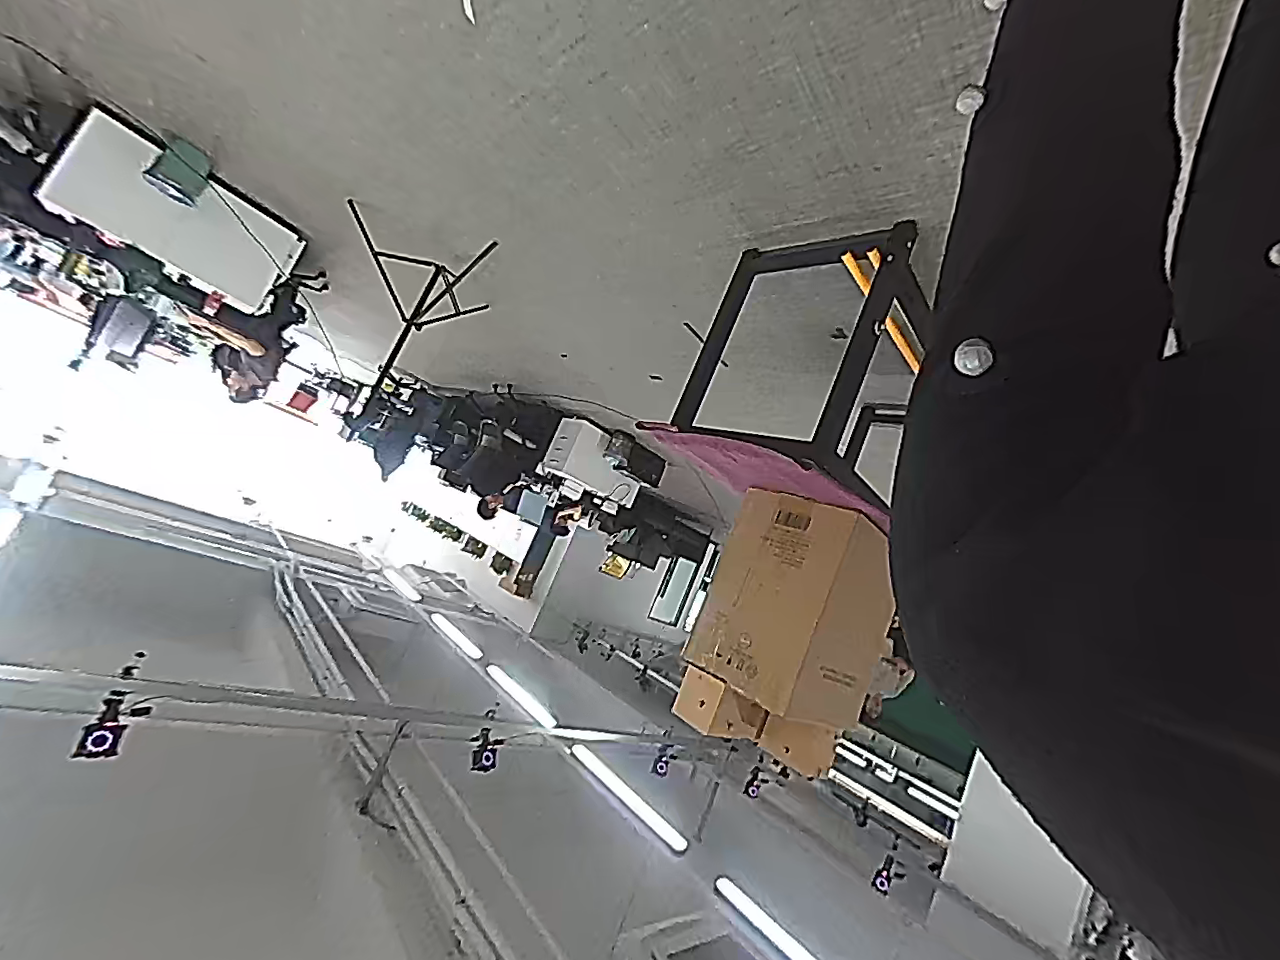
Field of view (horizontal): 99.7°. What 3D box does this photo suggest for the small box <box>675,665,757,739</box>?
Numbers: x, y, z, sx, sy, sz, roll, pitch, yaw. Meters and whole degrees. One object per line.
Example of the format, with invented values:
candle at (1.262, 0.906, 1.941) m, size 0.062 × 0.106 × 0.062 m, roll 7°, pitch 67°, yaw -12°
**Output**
small box at (0.251, 0.716, 1.757) m, size 0.179 × 0.176 × 0.168 m, roll 26°, pitch 171°, yaw -38°
